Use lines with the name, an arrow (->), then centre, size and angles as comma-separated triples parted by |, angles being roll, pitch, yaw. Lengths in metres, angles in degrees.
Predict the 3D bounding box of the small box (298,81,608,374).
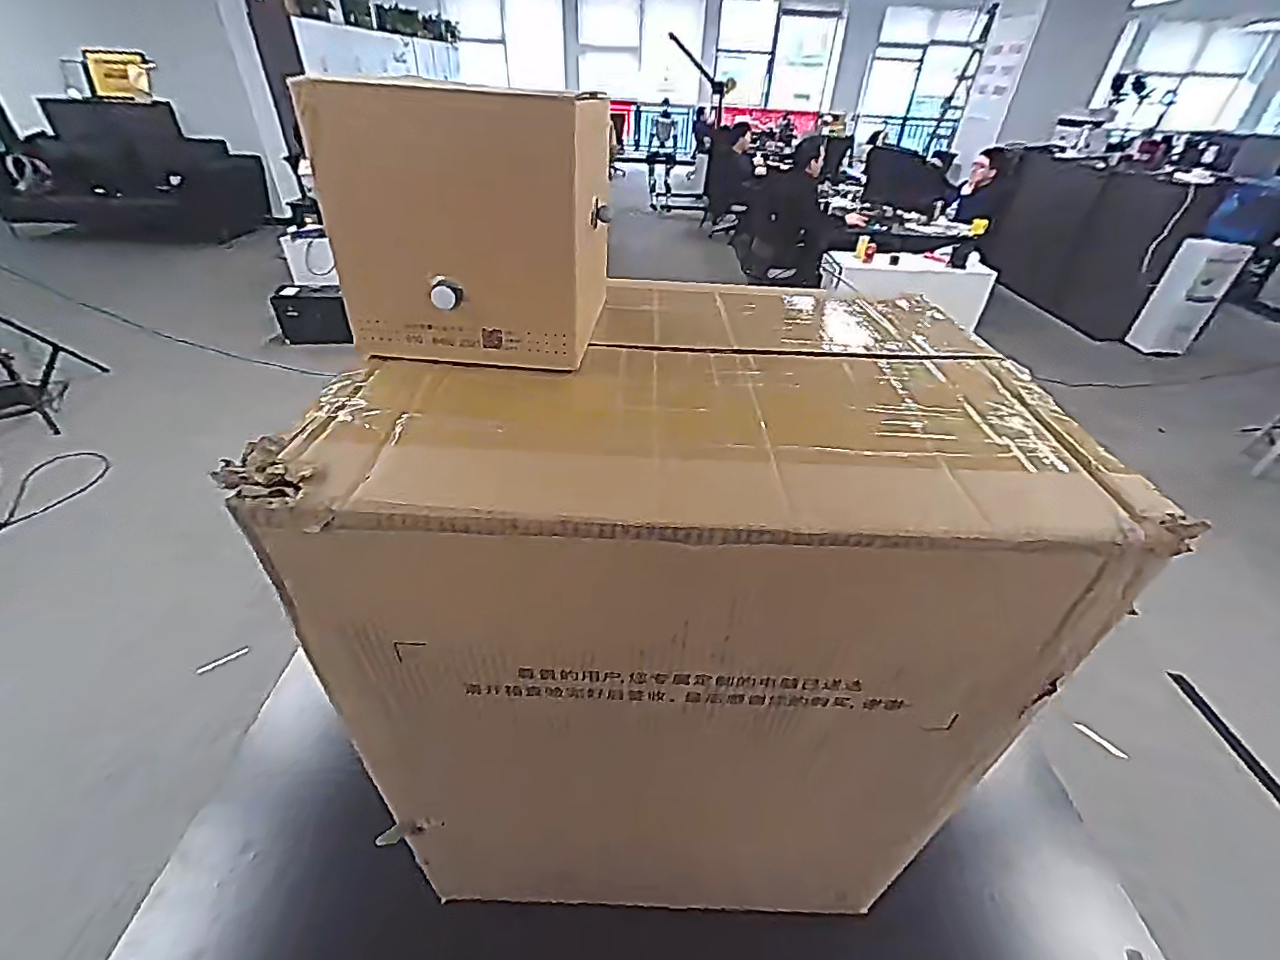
small box -> -0.118, -0.200, 0.424 | 0.168, 0.176, 0.179 | 4, 36, 1
